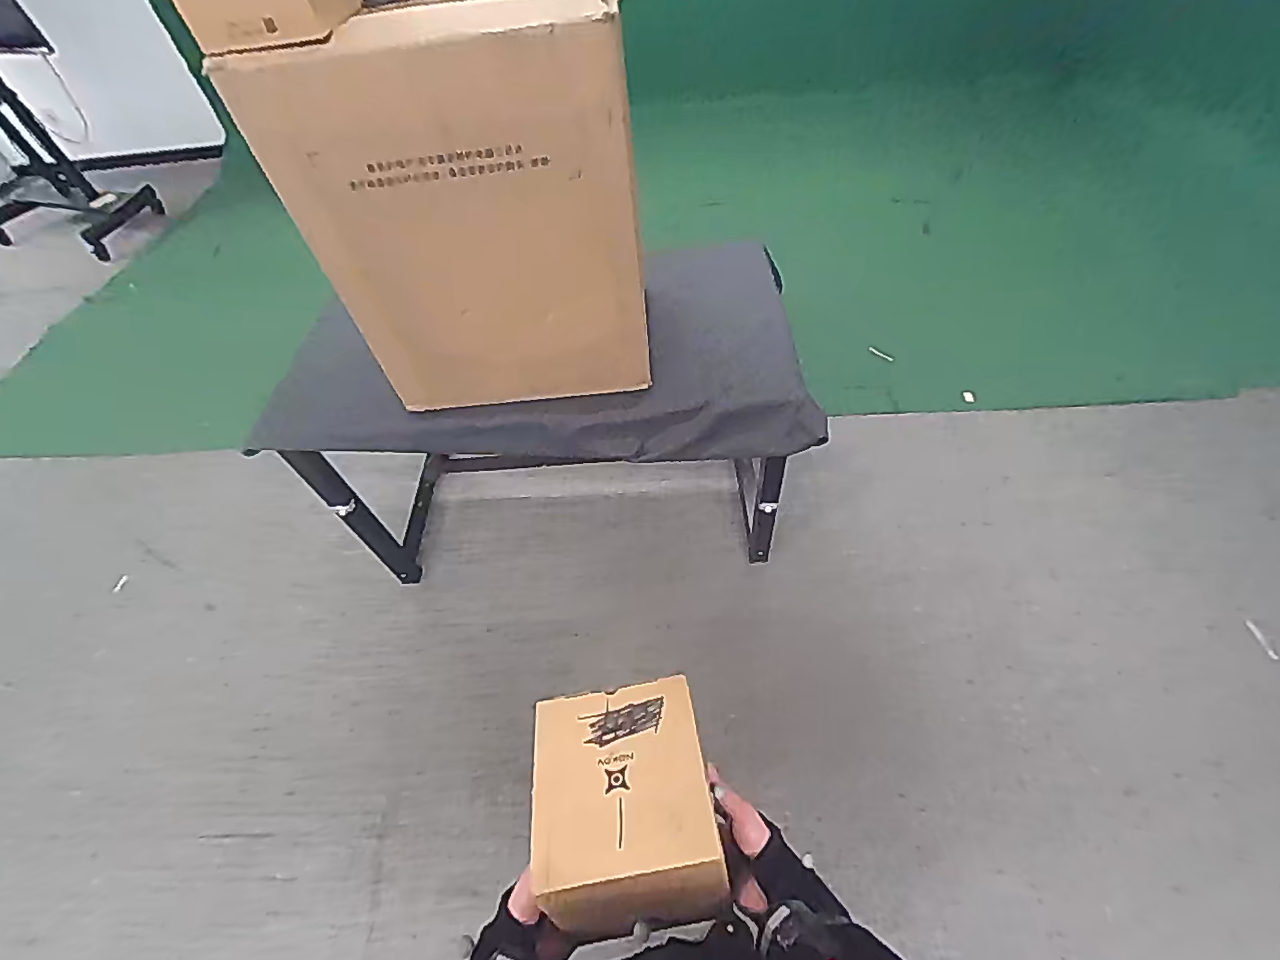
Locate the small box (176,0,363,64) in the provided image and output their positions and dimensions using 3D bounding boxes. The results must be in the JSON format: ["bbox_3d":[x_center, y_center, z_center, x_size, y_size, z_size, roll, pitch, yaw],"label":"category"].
[{"bbox_3d":[-0.487,-0.657,0.691,0.168,0.176,0.179,-4,52,3],"label":"small box"}]
